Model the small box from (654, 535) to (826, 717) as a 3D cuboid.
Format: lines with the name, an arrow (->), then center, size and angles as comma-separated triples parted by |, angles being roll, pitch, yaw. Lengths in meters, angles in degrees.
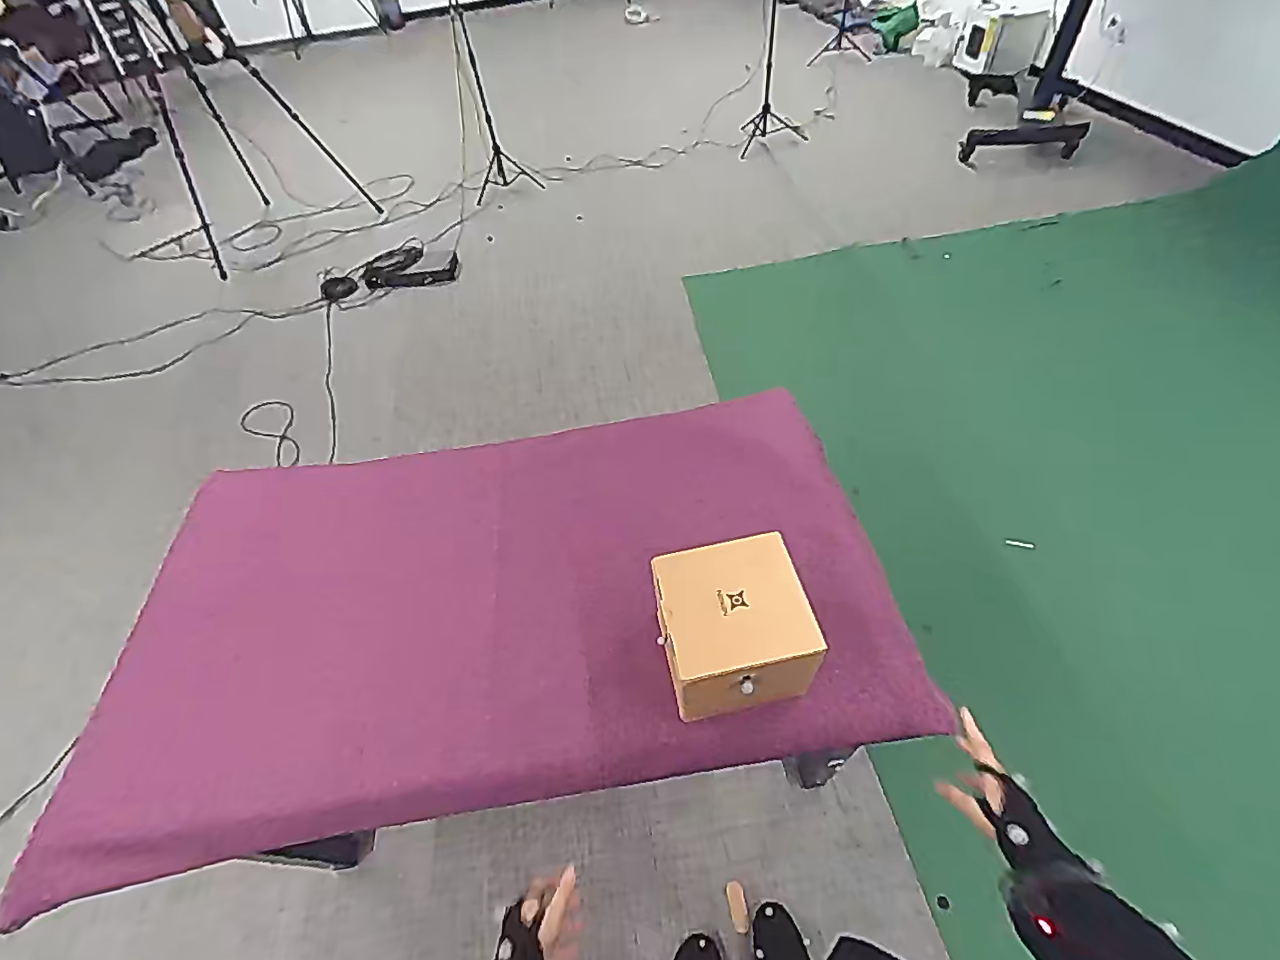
small box -> 0.124, 0.199, 0.727 | 0.179, 0.176, 0.168 | -12, 52, -2
